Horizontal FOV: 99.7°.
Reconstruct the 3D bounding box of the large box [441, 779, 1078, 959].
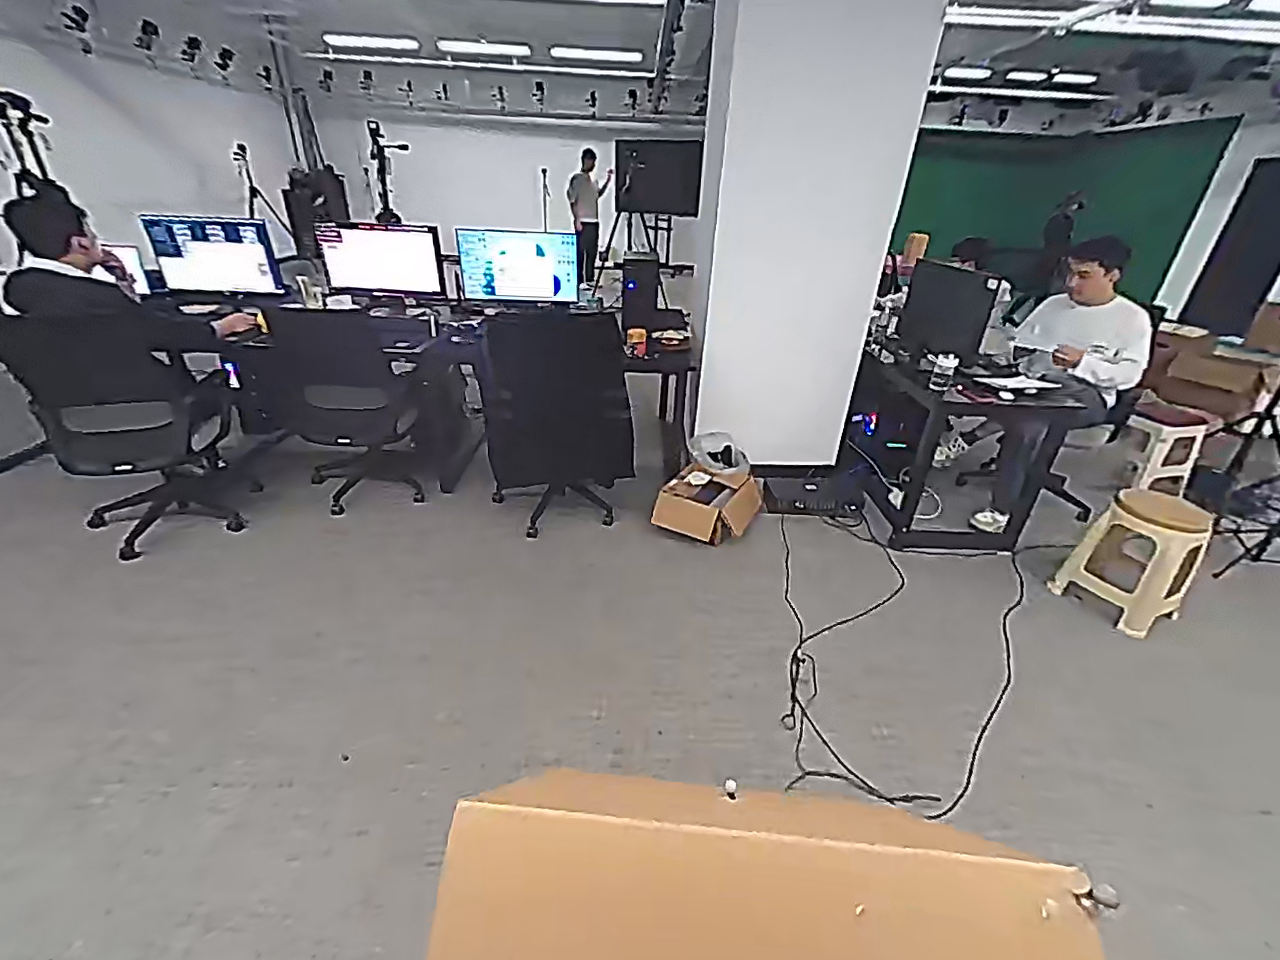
[{"bbox_3d":[0.071,0.439,0.440,0.408,0.320,0.320,3,67,4],"label":"large box"}]
